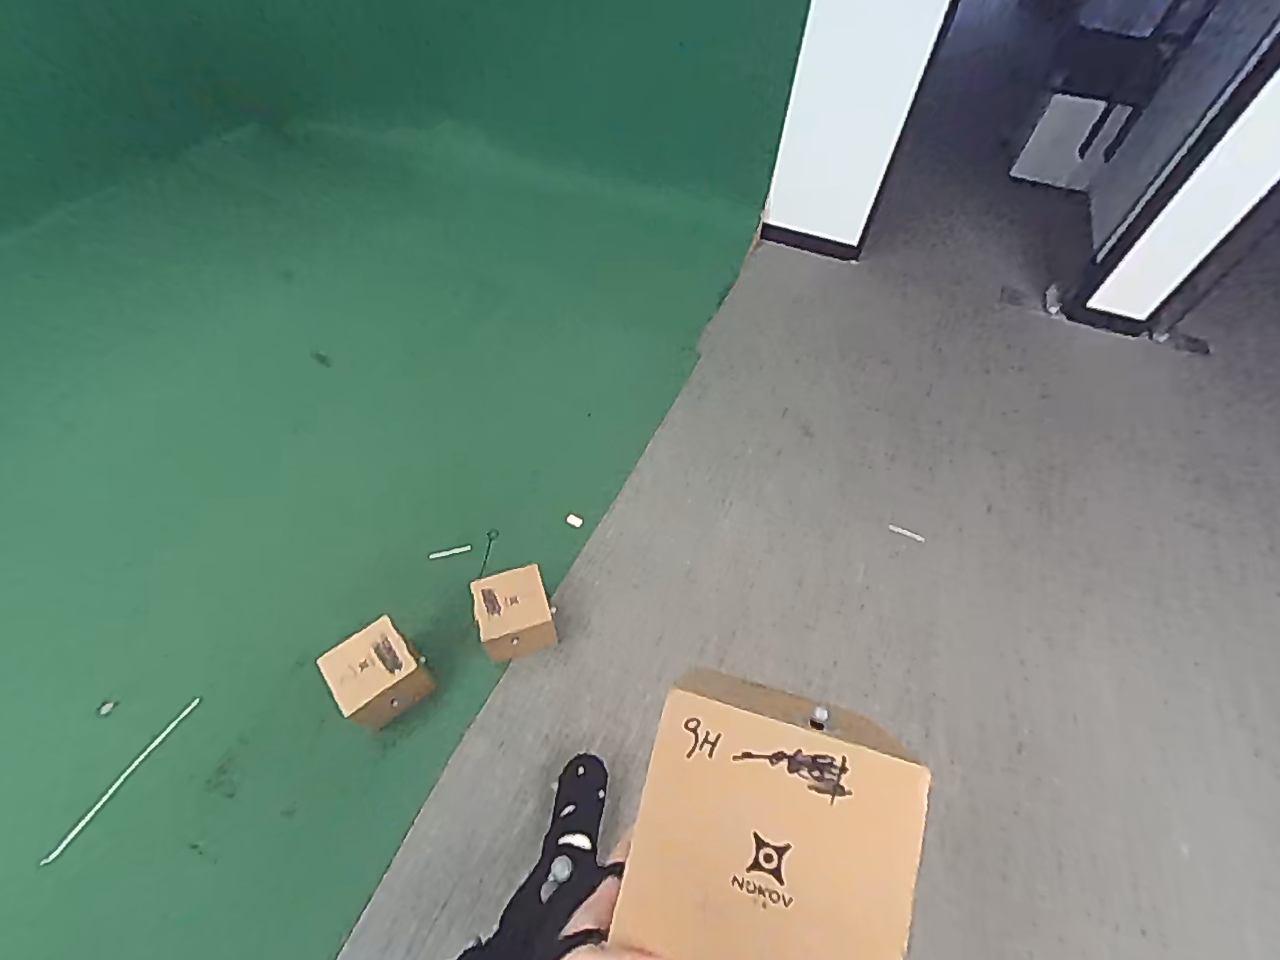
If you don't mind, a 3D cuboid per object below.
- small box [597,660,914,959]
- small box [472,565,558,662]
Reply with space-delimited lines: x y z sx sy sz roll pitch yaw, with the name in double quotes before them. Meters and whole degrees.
"small box" 0.086 0.250 0.411 0.168 0.176 0.179 12 79 14
"small box" -0.323 0.352 1.412 0.179 0.176 0.168 -15 55 -13
